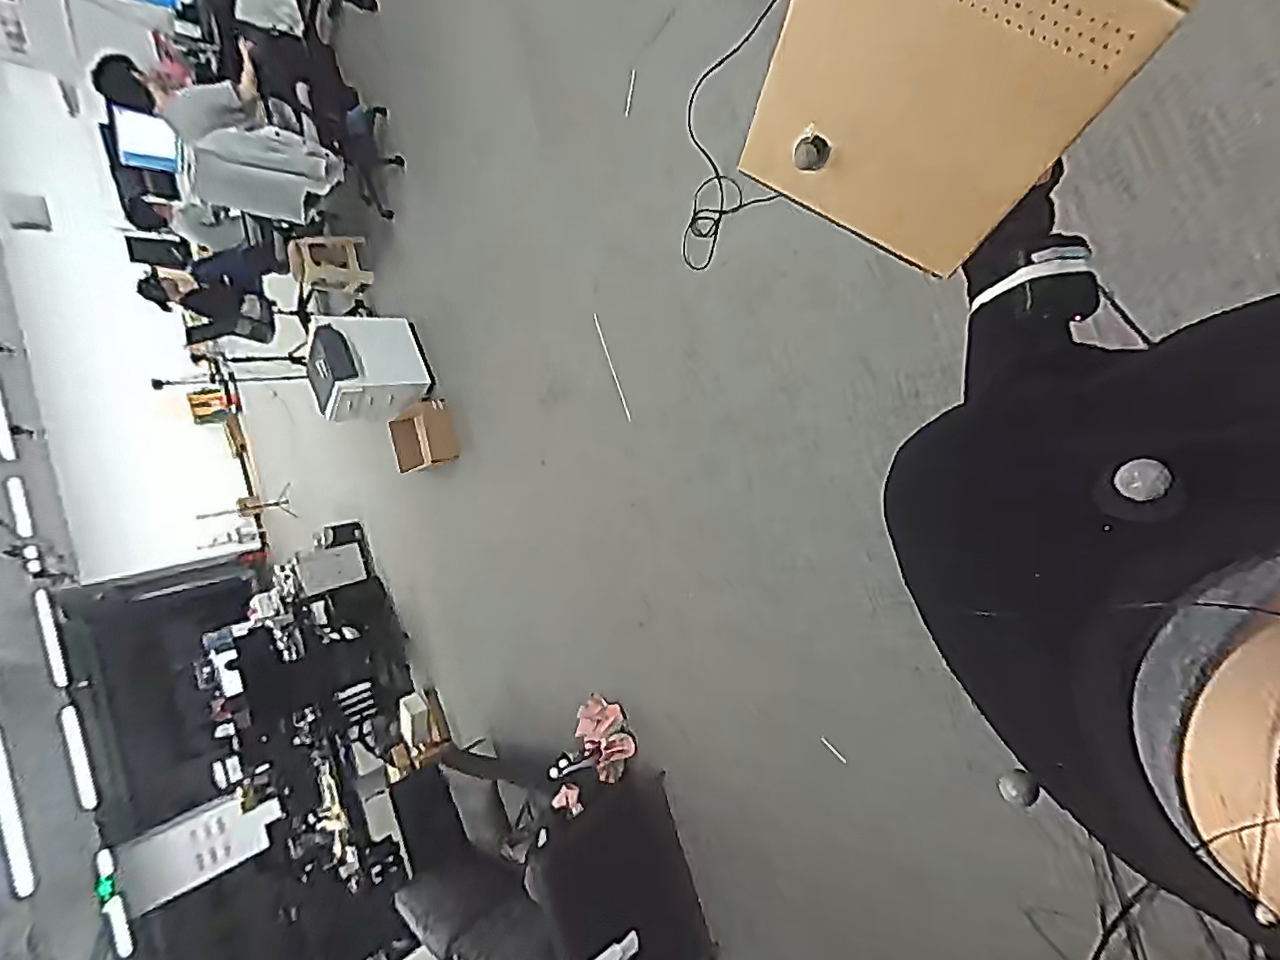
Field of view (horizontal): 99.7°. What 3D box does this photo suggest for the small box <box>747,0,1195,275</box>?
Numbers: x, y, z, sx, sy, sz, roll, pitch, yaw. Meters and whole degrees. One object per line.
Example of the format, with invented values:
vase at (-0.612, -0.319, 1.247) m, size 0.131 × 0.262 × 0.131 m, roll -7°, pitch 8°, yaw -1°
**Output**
small box at (0.202, -0.284, 0.356) m, size 0.179 × 0.168 × 0.176 m, roll 31°, pitch 159°, yaw 5°
